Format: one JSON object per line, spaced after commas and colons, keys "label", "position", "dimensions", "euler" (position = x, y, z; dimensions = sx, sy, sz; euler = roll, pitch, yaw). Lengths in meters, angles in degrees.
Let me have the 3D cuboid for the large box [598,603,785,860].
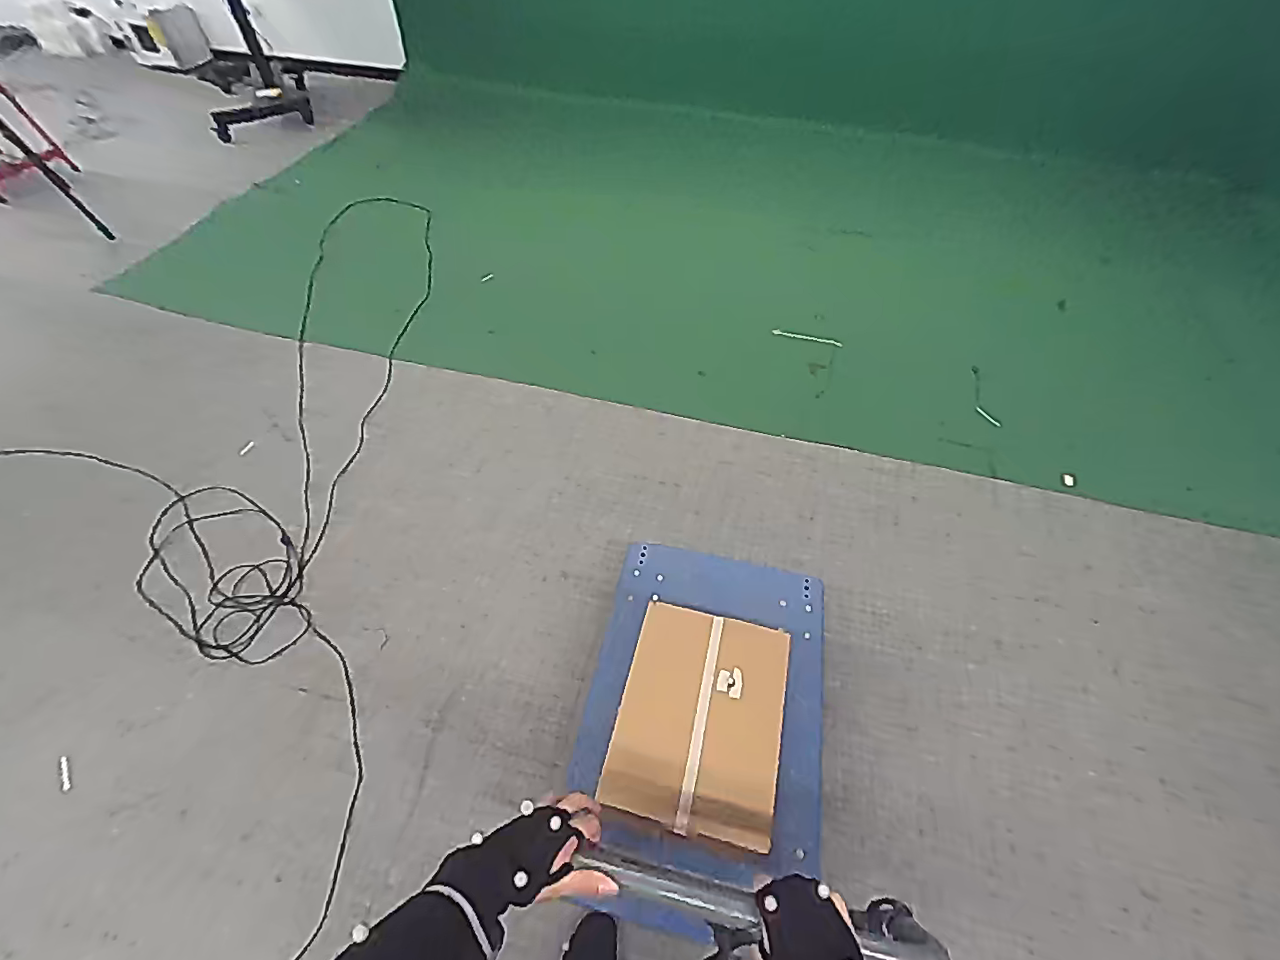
{"label": "large box", "position": [0.116, 0.546, 1.179], "dimensions": [0.320, 0.320, 0.408], "euler": [12, 53, 8]}
